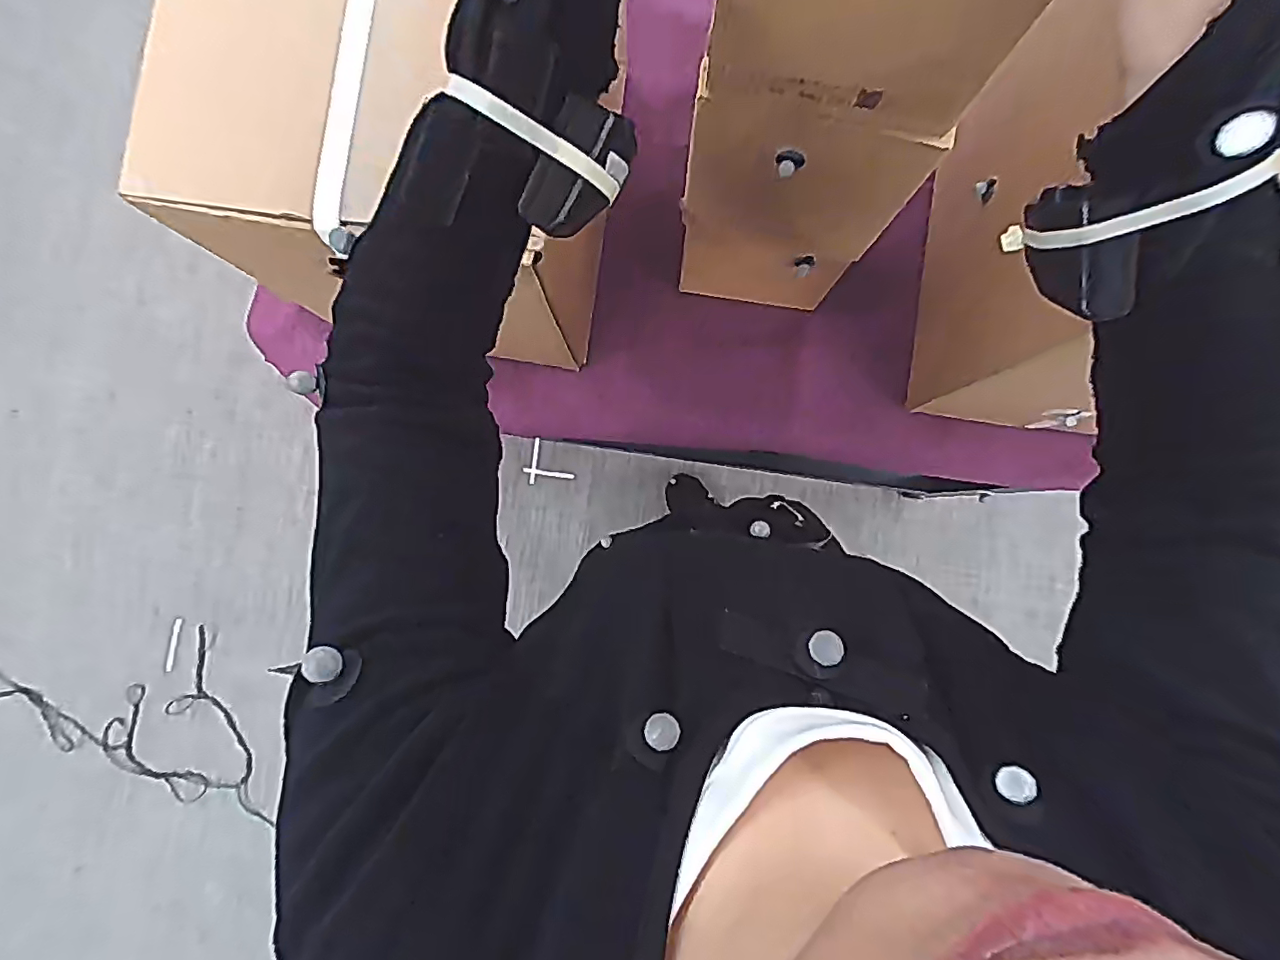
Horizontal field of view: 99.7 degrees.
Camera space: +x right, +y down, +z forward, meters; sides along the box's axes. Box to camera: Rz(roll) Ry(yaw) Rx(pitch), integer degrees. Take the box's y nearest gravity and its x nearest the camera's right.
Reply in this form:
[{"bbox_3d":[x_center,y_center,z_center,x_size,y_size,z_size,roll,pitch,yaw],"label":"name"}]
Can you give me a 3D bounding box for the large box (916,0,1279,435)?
[{"bbox_3d":[0.501,-0.275,0.524,0.320,0.320,0.408,7,86,2],"label":"large box"}]
